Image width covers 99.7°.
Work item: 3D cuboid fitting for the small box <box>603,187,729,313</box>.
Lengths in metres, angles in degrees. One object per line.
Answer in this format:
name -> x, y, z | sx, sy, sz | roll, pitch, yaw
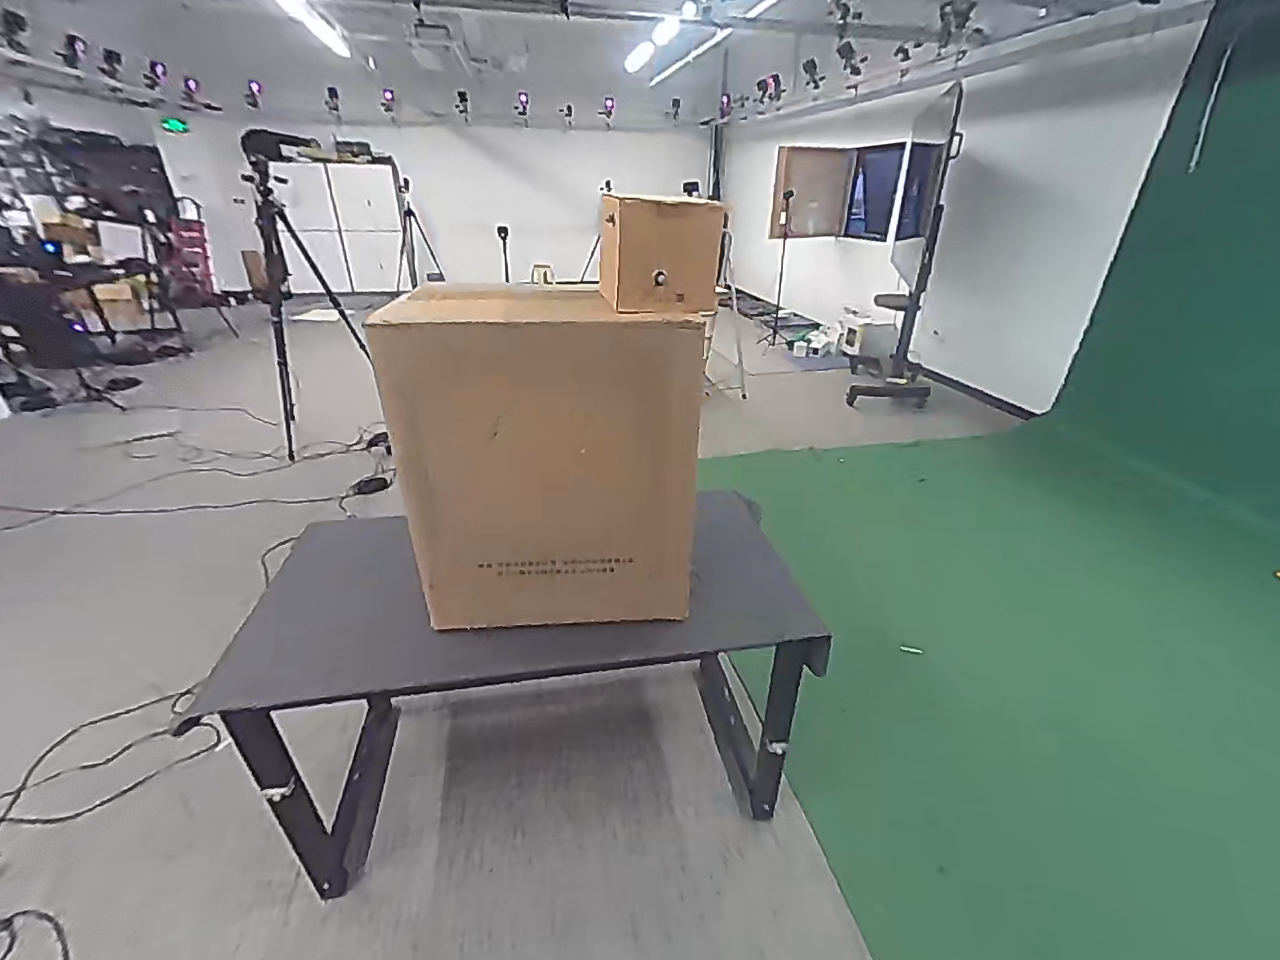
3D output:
small box -> 0.032, -0.387, 0.906 | 0.168, 0.176, 0.179 | -4, 32, -13
